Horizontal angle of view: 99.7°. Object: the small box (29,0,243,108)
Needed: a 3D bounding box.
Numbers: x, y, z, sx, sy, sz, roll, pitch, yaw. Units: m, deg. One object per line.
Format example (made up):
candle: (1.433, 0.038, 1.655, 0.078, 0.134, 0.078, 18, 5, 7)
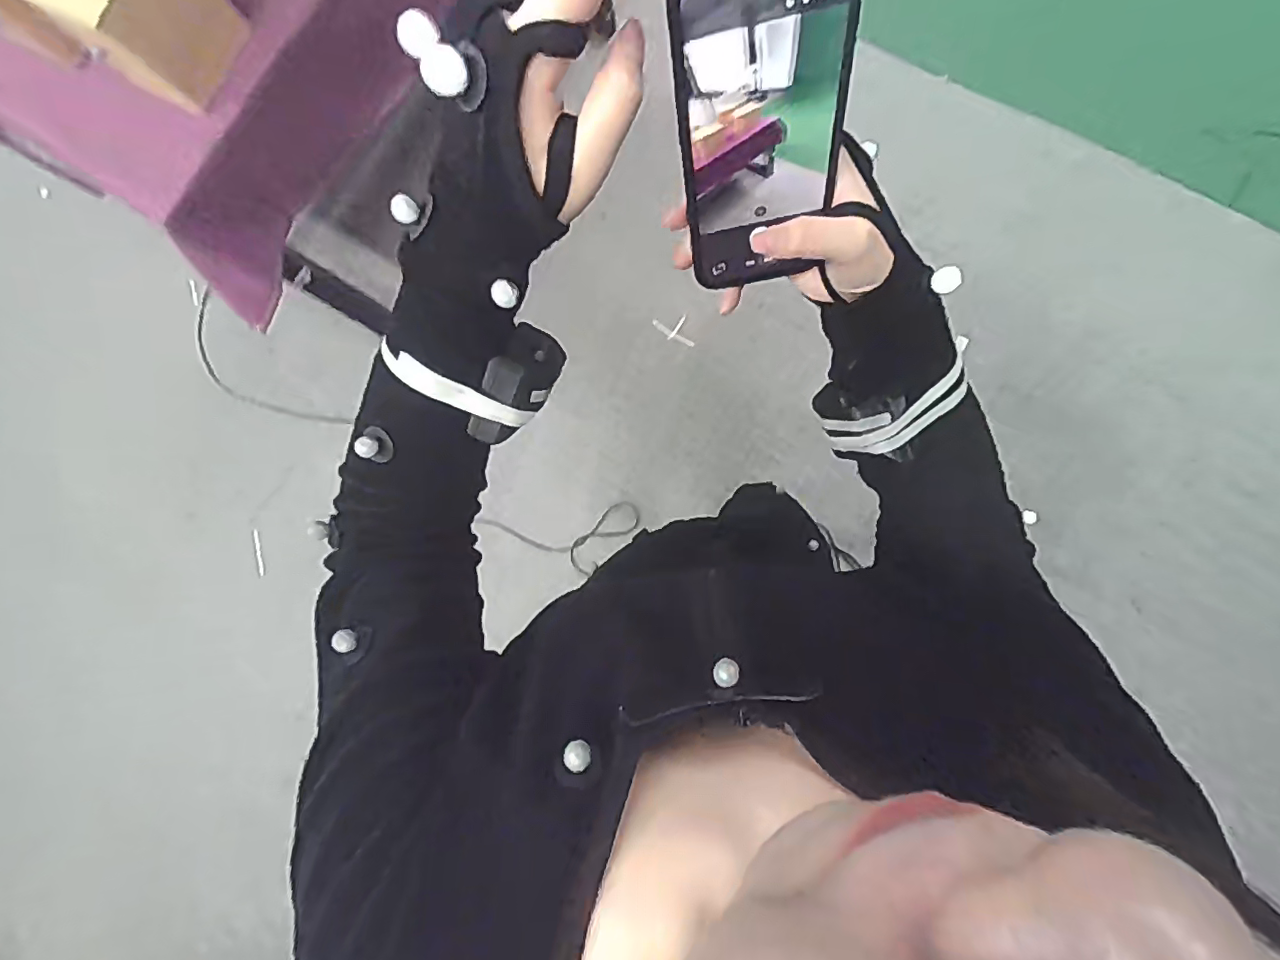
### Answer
small box: (-0.785, -0.741, 0.852, 0.168, 0.176, 0.179, 28, 88, 9)
